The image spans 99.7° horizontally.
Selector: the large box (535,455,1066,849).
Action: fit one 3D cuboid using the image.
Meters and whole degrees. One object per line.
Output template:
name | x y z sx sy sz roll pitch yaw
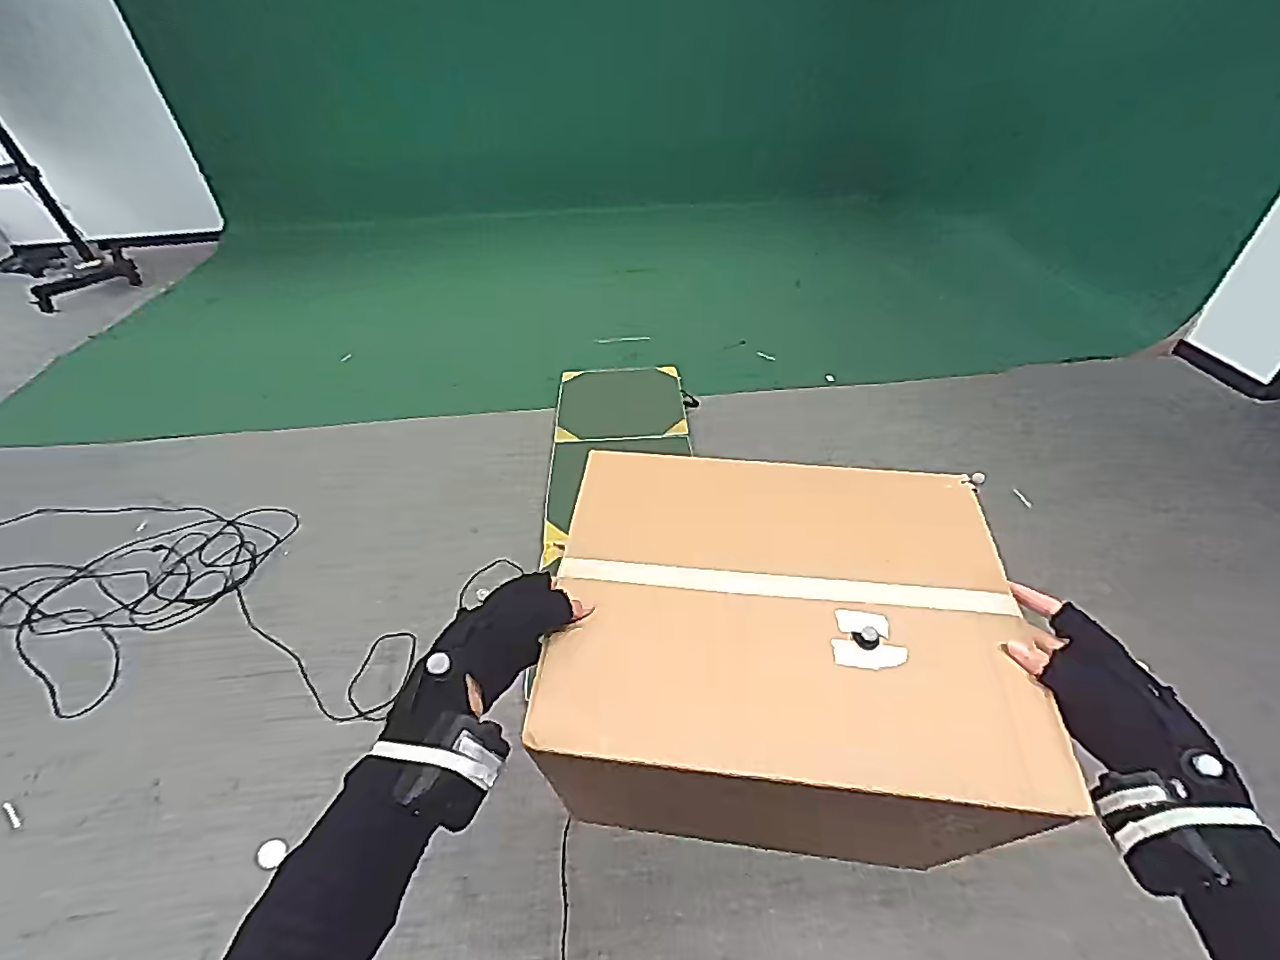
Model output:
large box | 0.127 0.195 0.611 0.408 0.320 0.320 4 49 4
